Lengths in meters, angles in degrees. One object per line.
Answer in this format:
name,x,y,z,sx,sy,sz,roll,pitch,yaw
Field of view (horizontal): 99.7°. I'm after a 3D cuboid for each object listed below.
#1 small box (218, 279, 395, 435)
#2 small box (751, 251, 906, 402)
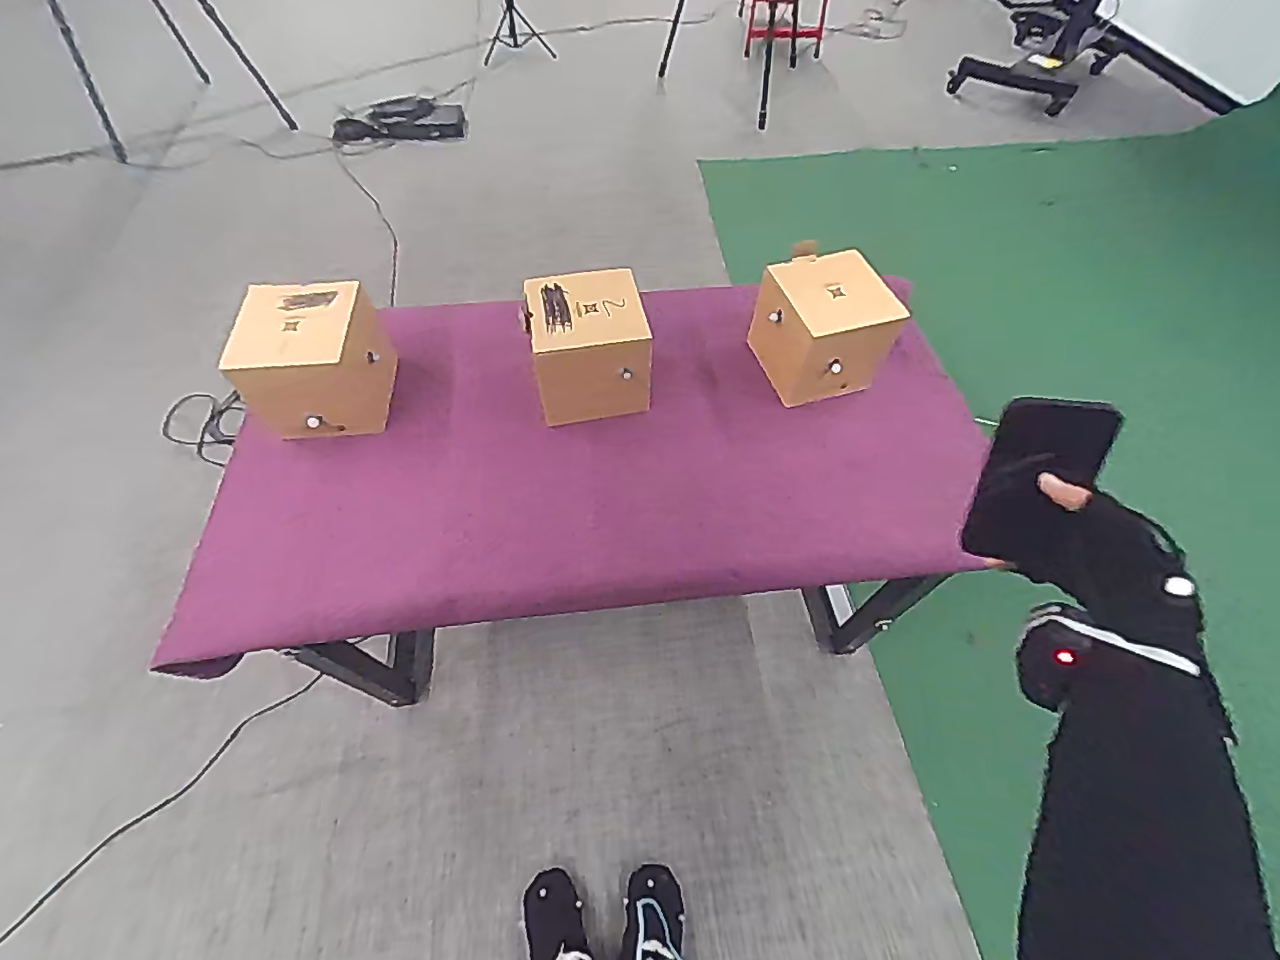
small box,-0.506,-0.191,0.854,0.168,0.176,0.179,-4,60,-4
small box,0.304,-0.250,0.913,0.168,0.176,0.179,-14,59,-9
